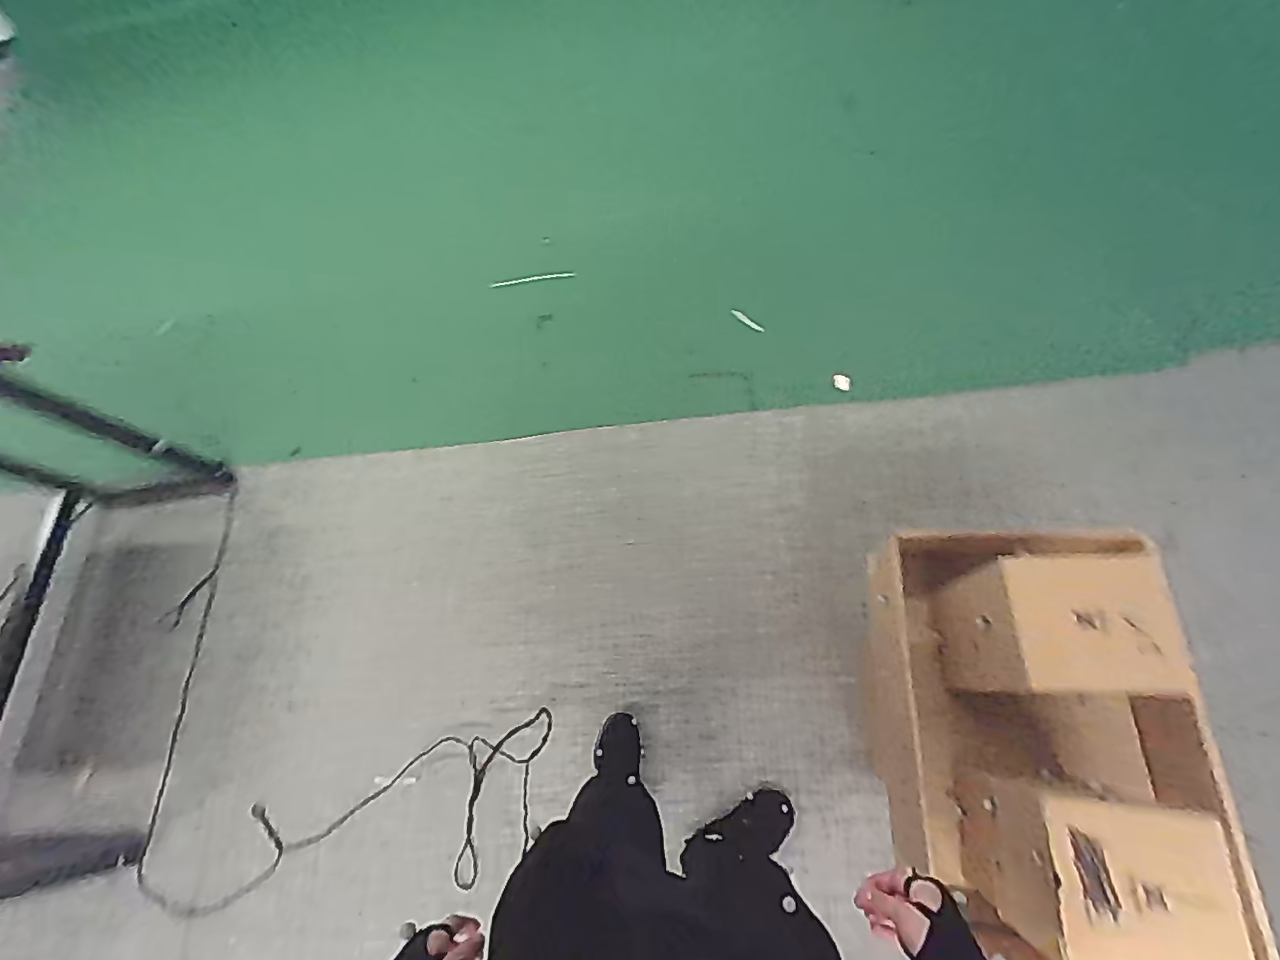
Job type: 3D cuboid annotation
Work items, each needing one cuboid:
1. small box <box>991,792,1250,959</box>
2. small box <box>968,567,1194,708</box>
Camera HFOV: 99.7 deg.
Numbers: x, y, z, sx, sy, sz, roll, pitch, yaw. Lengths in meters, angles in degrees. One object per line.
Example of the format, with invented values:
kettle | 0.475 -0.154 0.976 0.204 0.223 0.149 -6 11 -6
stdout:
small box | 0.545 0.483 0.643 0.179 0.176 0.168 3 69 11
small box | 0.574 0.218 0.740 0.179 0.176 0.168 -2 69 11
